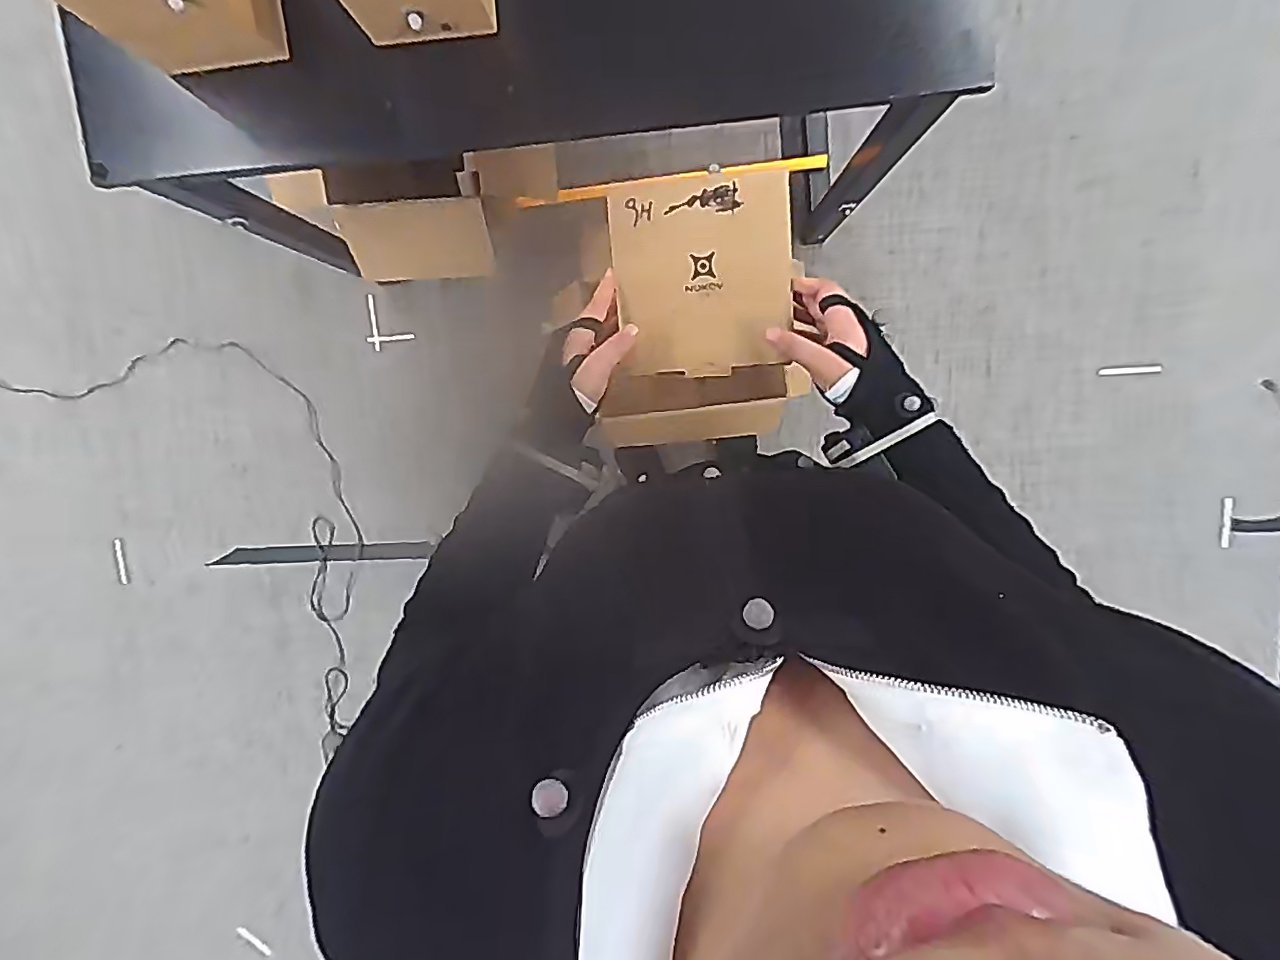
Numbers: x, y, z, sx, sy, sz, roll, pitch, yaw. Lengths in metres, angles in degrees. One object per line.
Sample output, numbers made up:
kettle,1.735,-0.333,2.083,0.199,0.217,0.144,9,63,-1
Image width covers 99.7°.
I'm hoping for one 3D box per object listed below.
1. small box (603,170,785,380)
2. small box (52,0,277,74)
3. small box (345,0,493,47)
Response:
small box,0.056,-0.207,0.583,0.168,0.176,0.179,-5,103,3
small box,-0.560,-0.616,0.629,0.179,0.176,0.168,-5,97,3
small box,-0.276,-0.644,0.613,0.168,0.176,0.179,-3,98,3
